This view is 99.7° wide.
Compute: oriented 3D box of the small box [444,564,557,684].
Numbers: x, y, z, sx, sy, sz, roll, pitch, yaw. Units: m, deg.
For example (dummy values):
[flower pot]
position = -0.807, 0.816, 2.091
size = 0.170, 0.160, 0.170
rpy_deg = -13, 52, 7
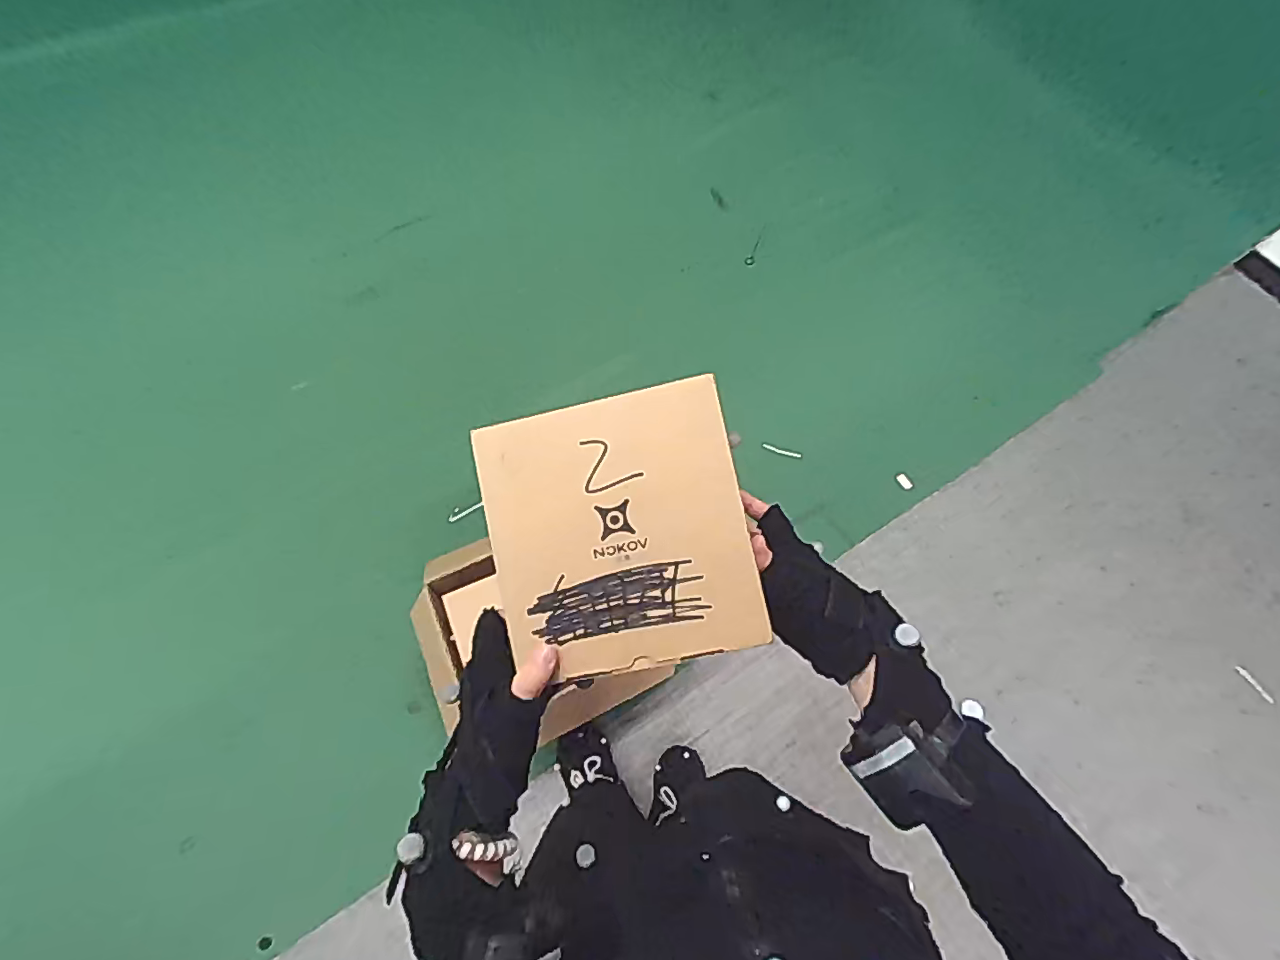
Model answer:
[small box]
position = -0.275, 0.296, 1.093
size = 0.168, 0.176, 0.179
rpy_deg = -21, 70, -12
